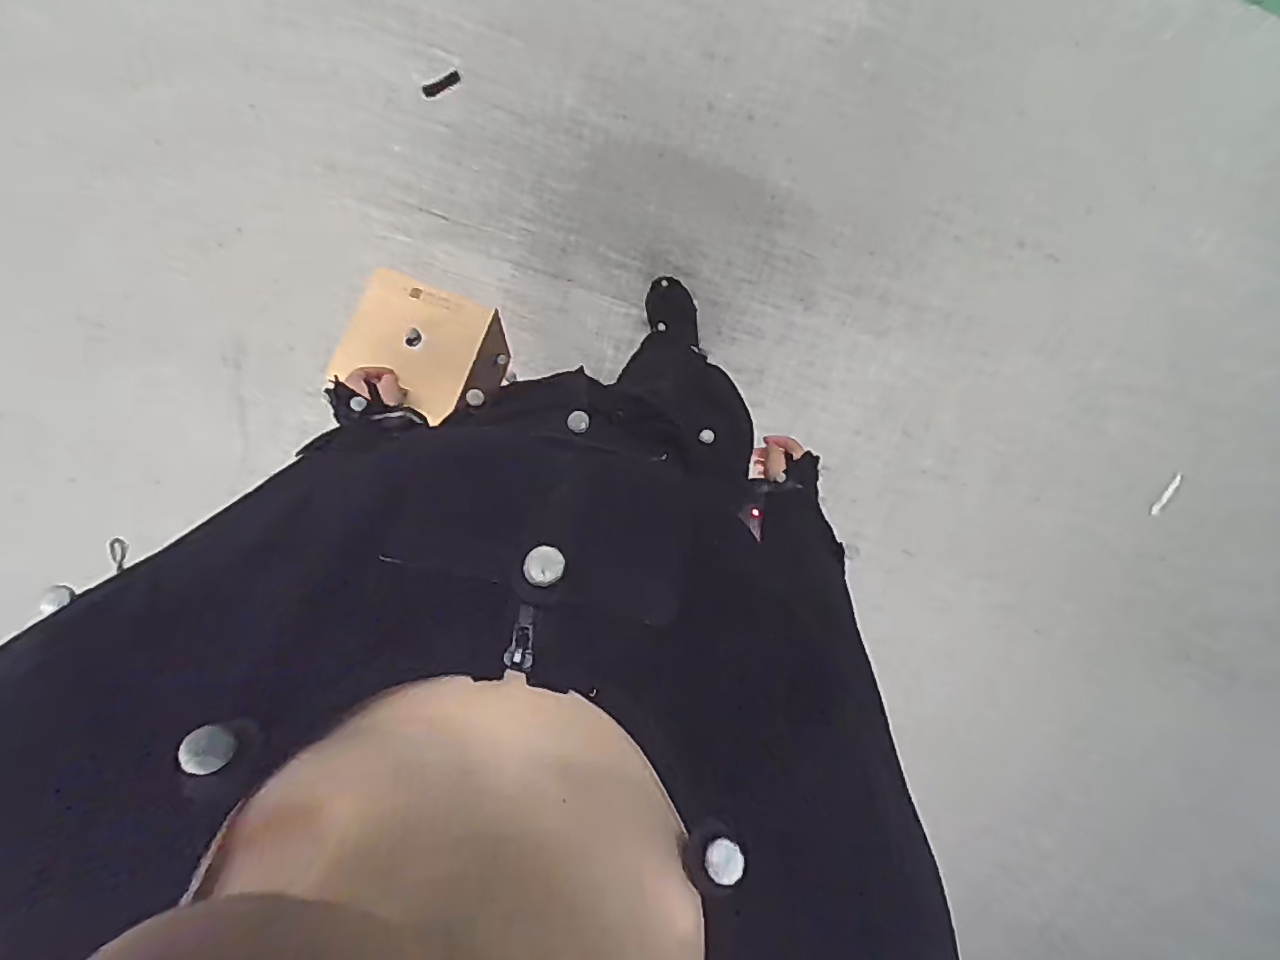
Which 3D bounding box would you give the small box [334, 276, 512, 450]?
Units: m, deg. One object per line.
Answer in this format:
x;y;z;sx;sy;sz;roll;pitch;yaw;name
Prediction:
-0.297;-0.162;0.780;0.168;0.179;0.176;18;79;-3;small box
